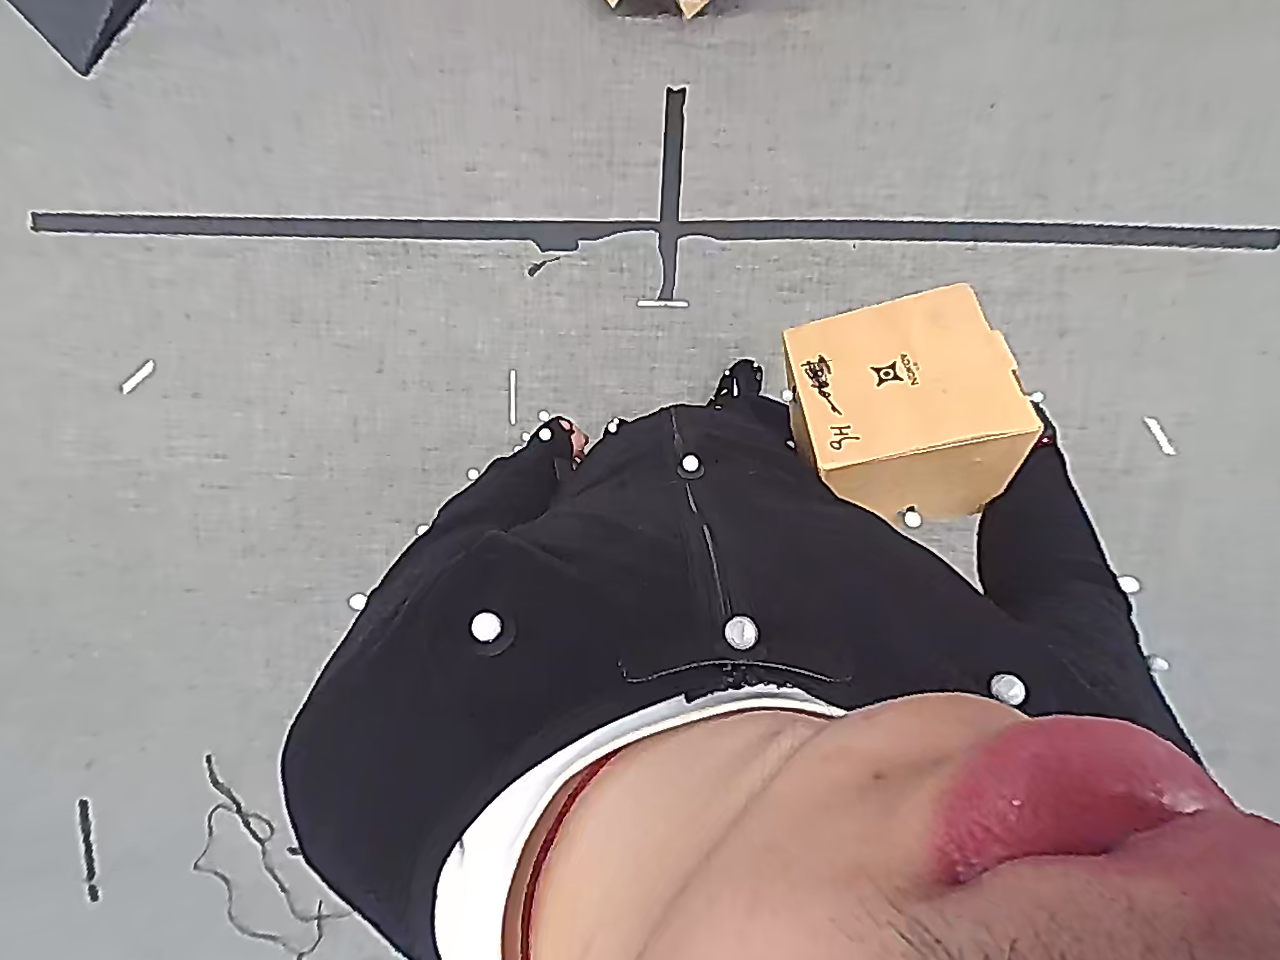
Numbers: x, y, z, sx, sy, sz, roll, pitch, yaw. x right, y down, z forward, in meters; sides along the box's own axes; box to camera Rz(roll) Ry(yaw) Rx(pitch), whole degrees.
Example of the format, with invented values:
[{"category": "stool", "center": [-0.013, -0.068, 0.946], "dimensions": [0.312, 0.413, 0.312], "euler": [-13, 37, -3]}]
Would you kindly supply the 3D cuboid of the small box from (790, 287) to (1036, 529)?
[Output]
[{"category": "small box", "center": [0.261, -0.064, 0.567], "dimensions": [0.179, 0.176, 0.168], "euler": [-11, 59, 12]}]
